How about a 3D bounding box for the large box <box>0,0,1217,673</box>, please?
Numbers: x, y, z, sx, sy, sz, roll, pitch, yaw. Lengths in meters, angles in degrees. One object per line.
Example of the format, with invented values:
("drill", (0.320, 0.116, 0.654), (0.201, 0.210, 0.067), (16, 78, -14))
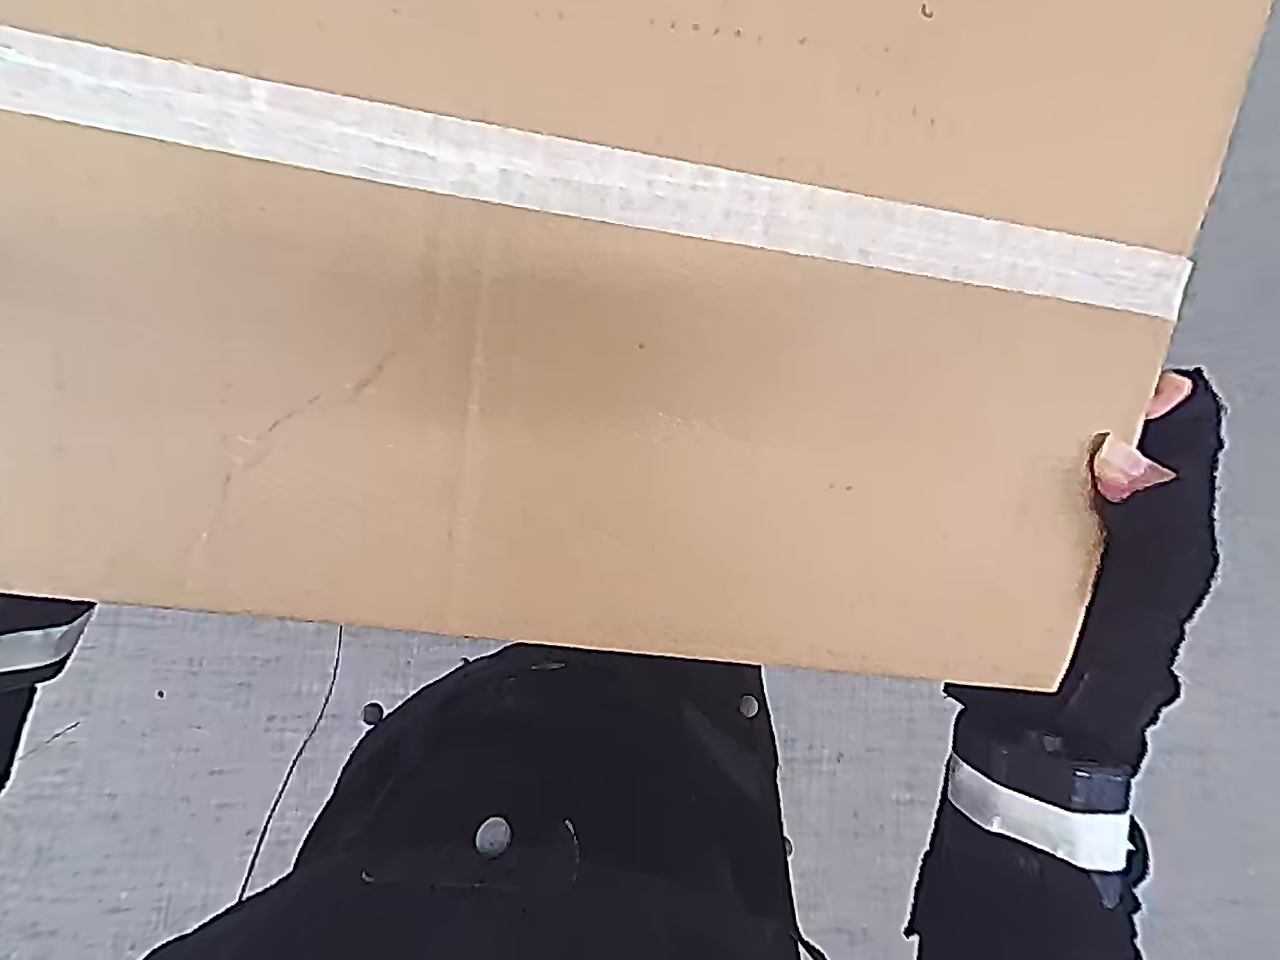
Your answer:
("large box", (-0.027, -0.117, 0.328), (0.408, 0.320, 0.320), (8, 100, -7))
